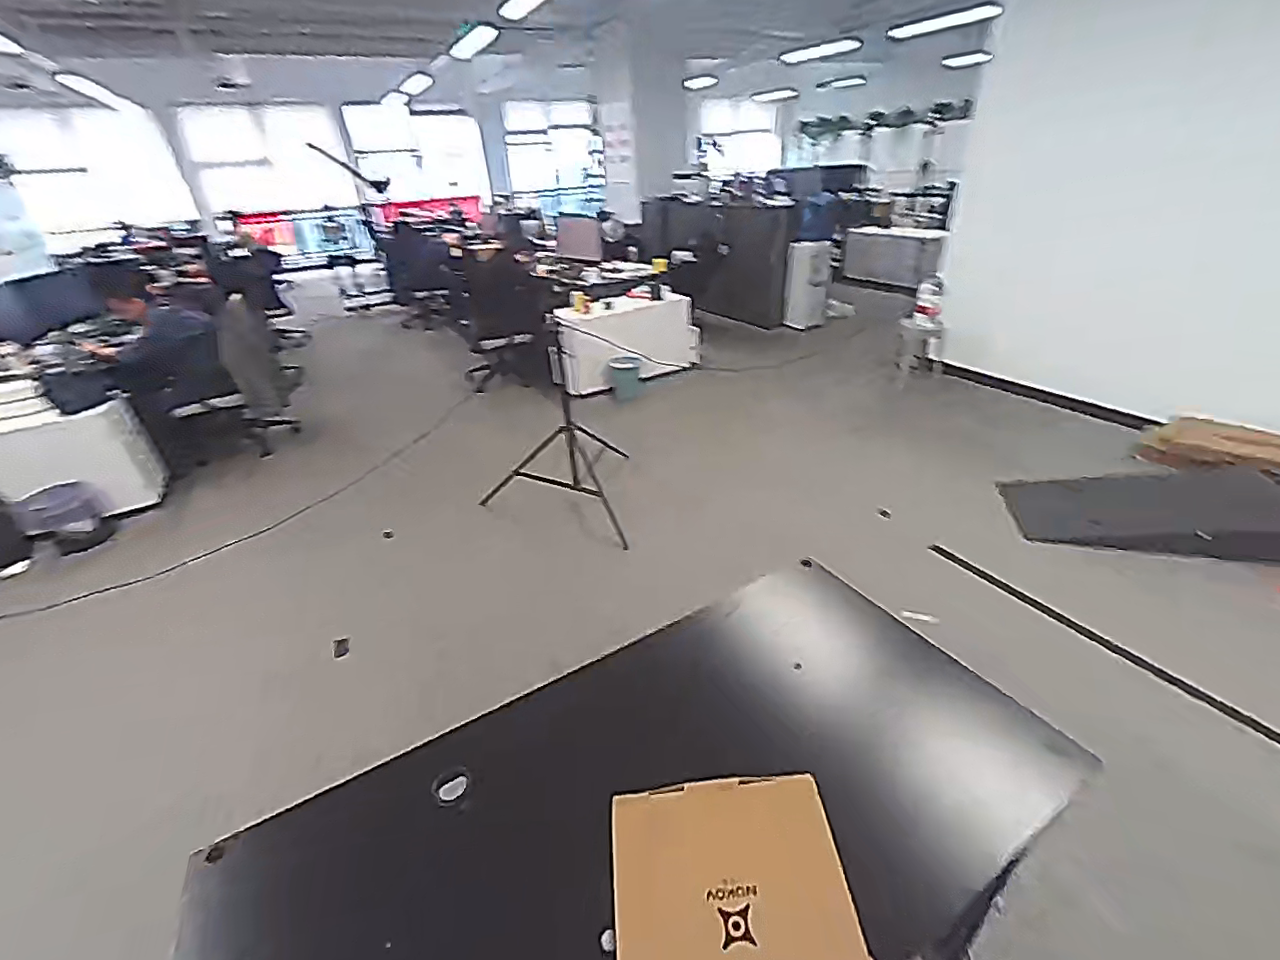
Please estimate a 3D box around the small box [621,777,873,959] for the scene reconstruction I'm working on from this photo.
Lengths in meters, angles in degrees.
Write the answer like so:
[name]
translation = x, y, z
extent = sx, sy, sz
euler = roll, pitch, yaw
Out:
[small box]
translation = 0.074, 0.363, 0.421
extent = 0.168, 0.176, 0.179
euler = -6, 40, 0
